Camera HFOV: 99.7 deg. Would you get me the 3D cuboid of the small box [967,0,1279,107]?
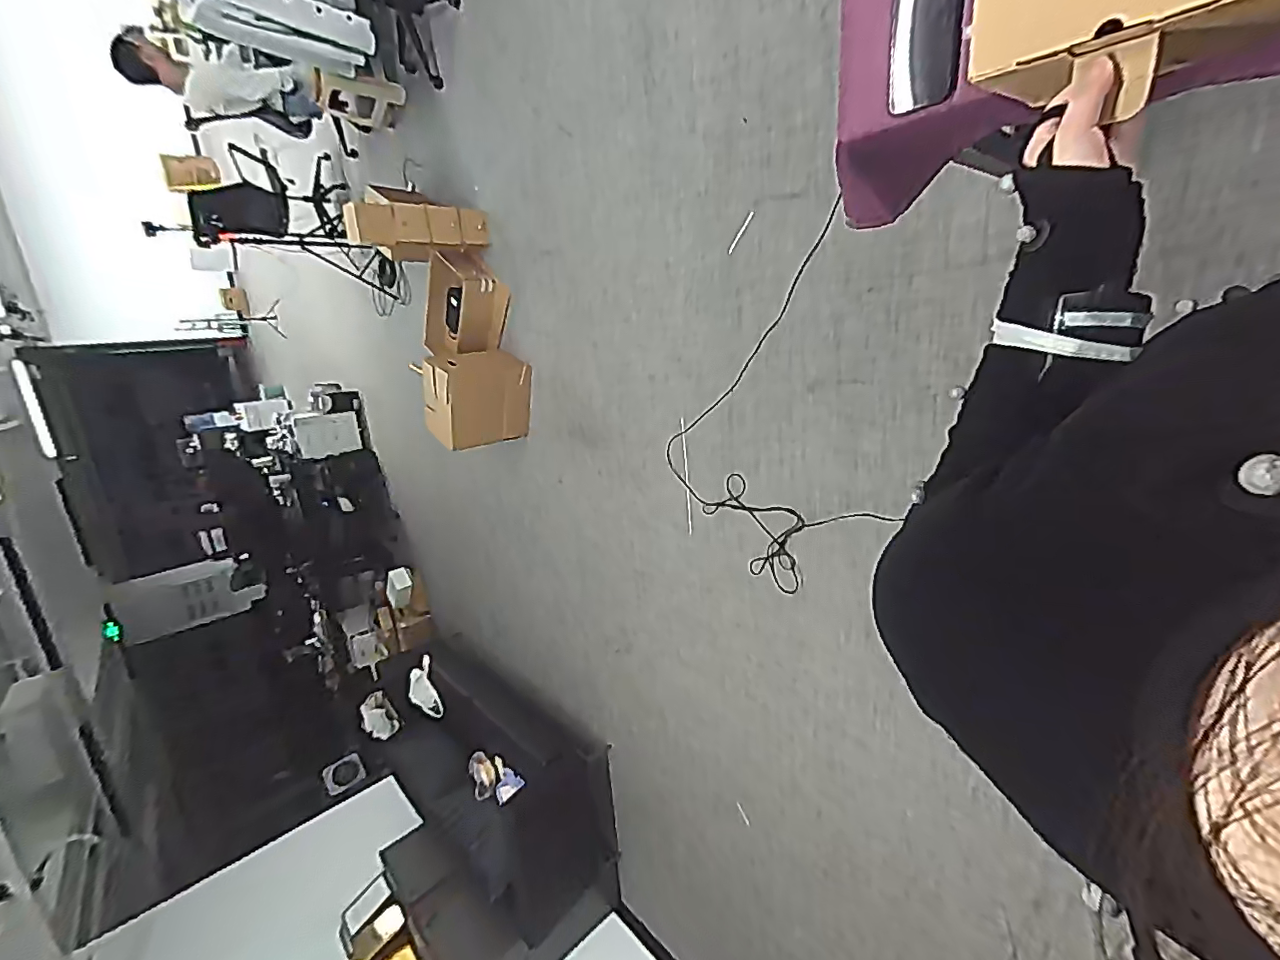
[{"bbox_3d":[0.358,-0.394,0.383,0.168,0.176,0.179,15,120,45],"label":"small box"}]
